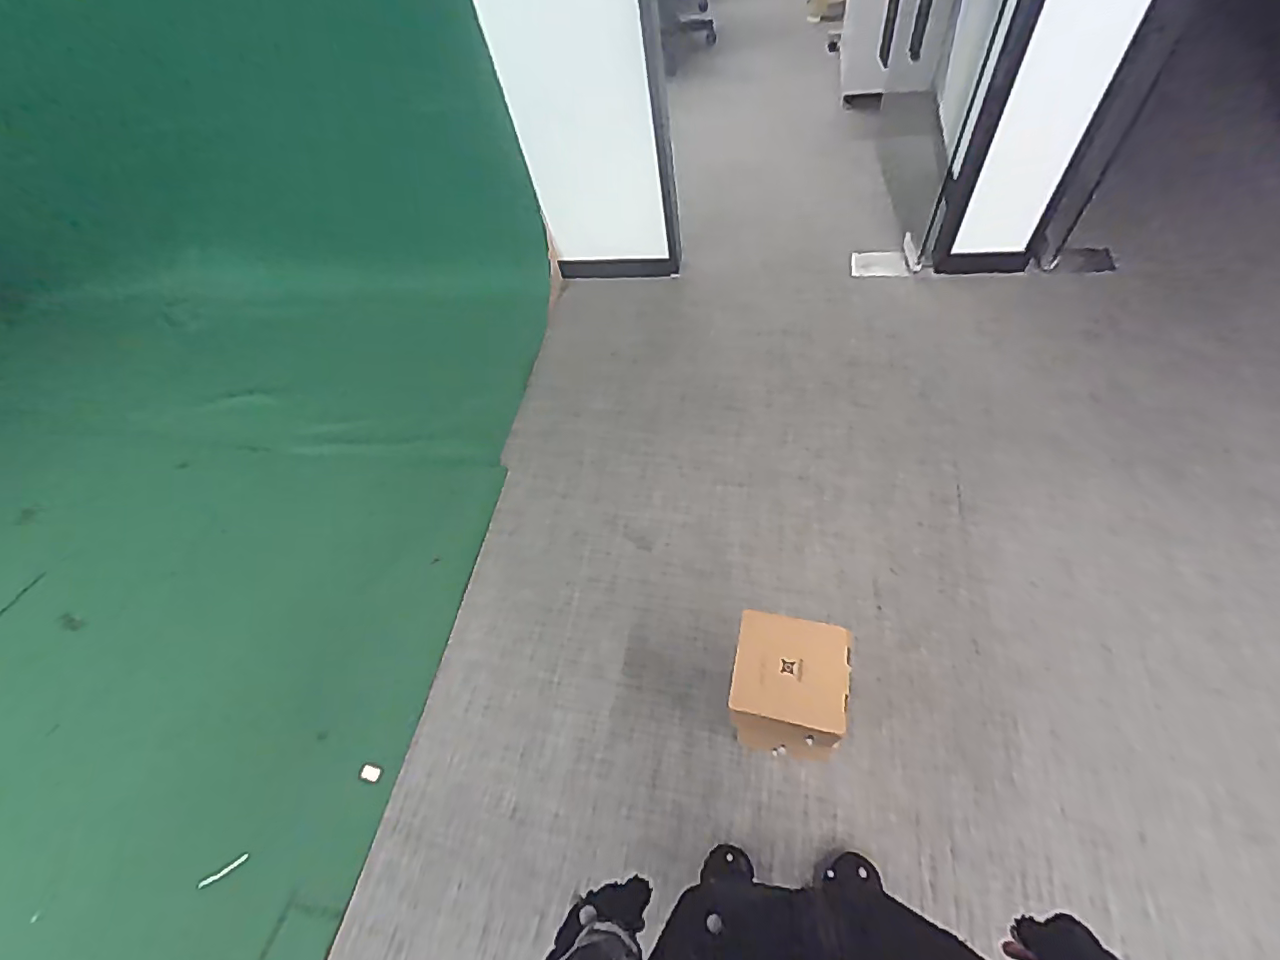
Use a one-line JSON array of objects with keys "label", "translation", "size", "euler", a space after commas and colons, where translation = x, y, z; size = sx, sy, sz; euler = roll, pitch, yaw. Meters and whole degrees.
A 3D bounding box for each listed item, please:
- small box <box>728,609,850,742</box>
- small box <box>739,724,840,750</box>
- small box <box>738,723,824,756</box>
[{"label": "small box", "translation": [0.254, 0.340, 0.930], "size": [0.179, 0.176, 0.168], "euler": [6, 59, 16]}, {"label": "small box", "translation": [0.294, 0.423, 1.064], "size": [0.179, 0.176, 0.168], "euler": [8, 61, 15]}, {"label": "small box", "translation": [0.320, 0.502, 1.202], "size": [0.179, 0.176, 0.168], "euler": [9, 59, 16]}]
